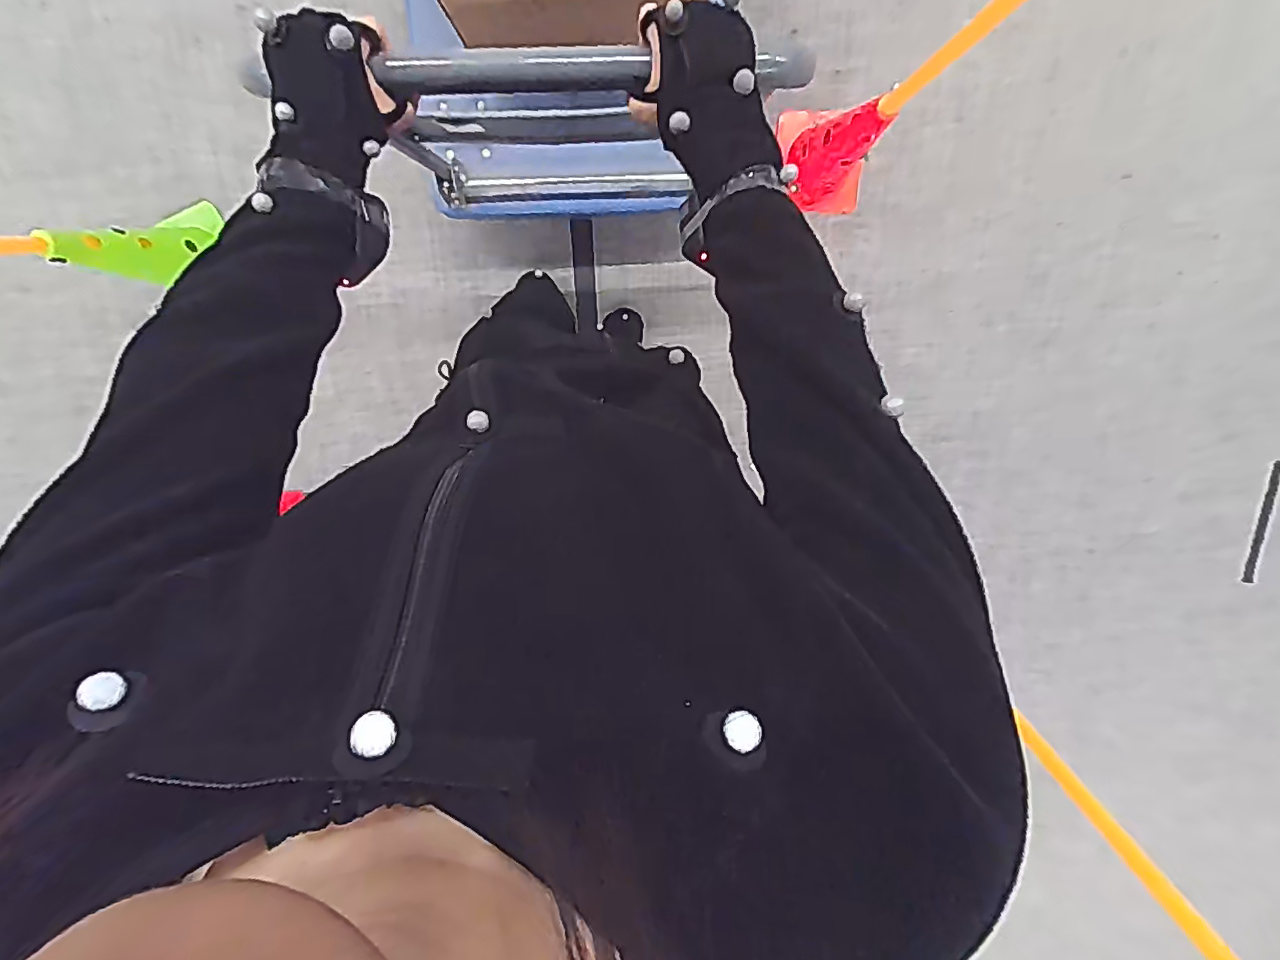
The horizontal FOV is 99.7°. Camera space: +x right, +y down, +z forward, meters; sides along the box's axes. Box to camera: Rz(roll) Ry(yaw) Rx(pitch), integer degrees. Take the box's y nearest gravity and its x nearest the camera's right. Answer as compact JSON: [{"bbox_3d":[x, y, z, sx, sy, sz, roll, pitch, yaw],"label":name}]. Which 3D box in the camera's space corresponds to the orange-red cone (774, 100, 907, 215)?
[{"bbox_3d":[0.414,-0.654,1.046,0.199,0.360,0.198,3,108,-3],"label":"orange-red cone"}]
